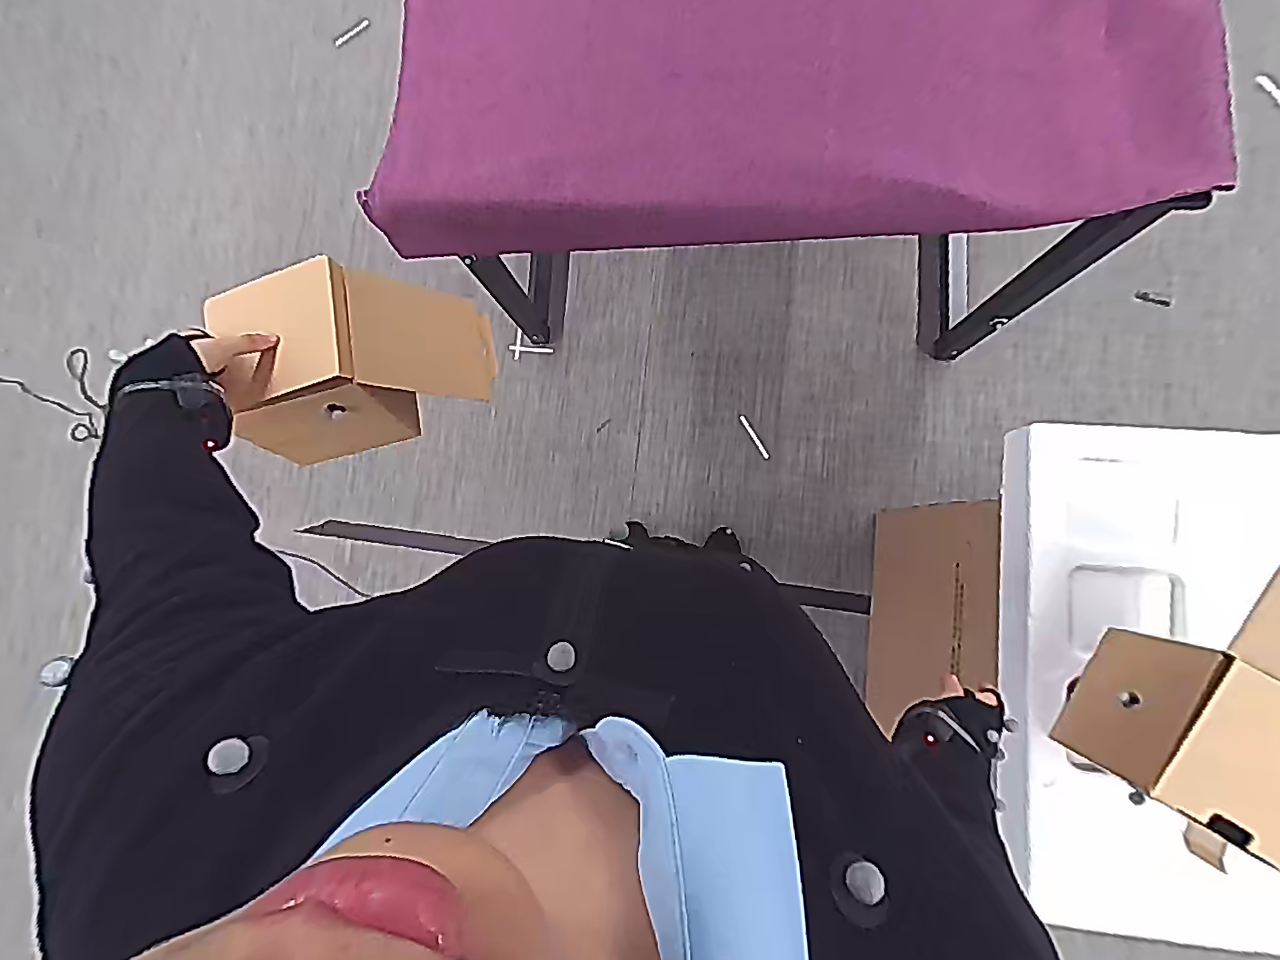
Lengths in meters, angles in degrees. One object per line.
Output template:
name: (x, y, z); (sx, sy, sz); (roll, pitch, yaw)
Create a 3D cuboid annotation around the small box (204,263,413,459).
small box: (-0.413, -0.143, 0.701); (0.179, 0.176, 0.168); (-14, 72, 0)
